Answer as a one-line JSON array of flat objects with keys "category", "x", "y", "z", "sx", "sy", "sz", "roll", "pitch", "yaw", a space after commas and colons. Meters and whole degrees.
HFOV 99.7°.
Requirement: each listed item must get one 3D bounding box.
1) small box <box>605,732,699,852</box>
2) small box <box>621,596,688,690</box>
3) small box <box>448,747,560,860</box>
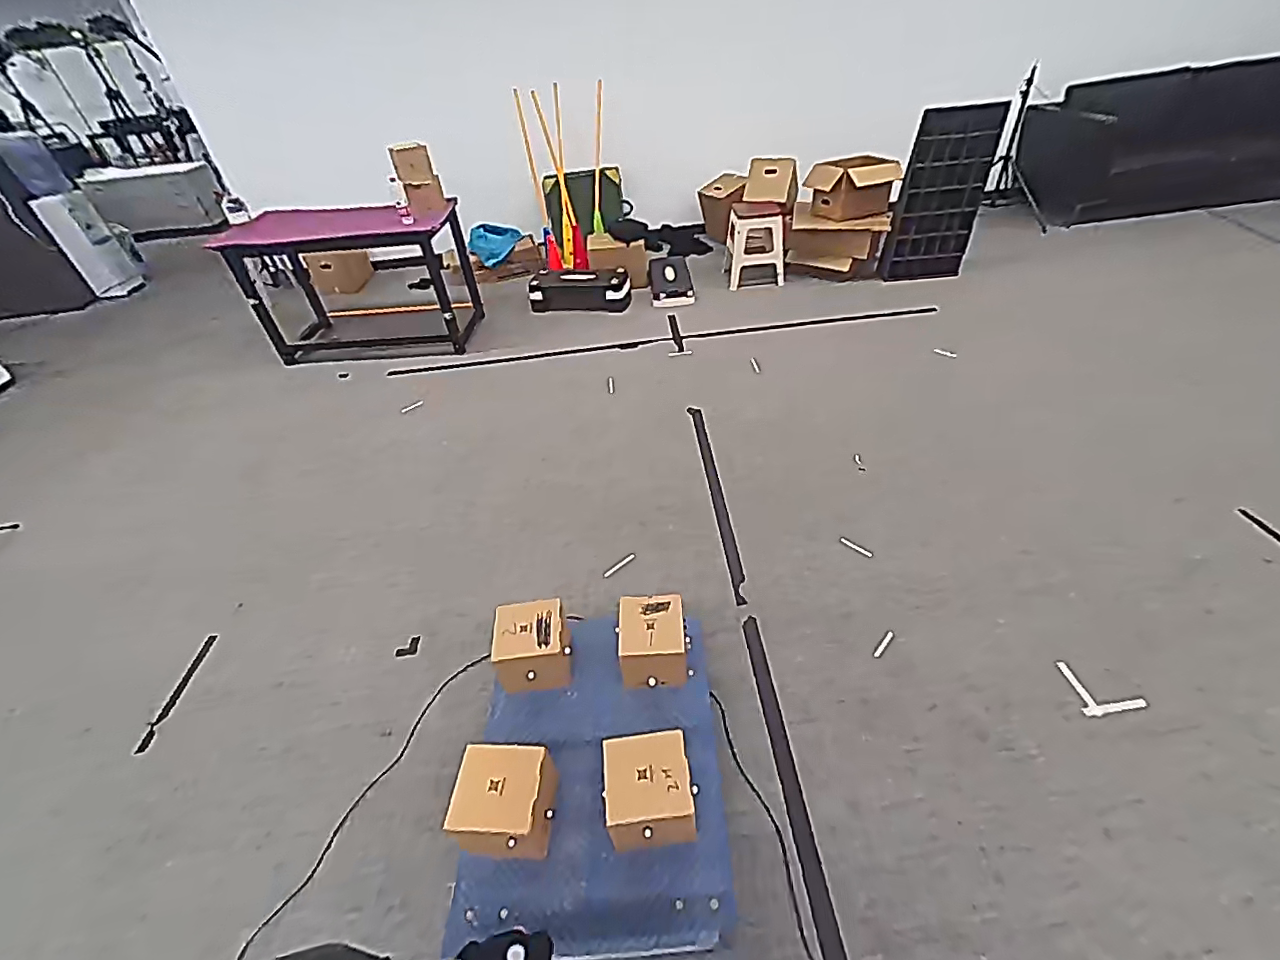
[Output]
[{"category": "small box", "x": 0.027, "y": 0.666, "z": 1.152, "sx": 0.179, "sy": 0.176, "sz": 0.168, "roll": -8, "pitch": 41, "yaw": -1}, {"category": "small box", "x": 0.039, "y": 0.429, "z": 1.425, "sx": 0.168, "sy": 0.176, "sz": 0.179, "roll": -4, "pitch": 42, "yaw": 3}, {"category": "small box", "x": -0.282, "y": 0.695, "z": 1.159, "sx": 0.179, "sy": 0.176, "sz": 0.168, "roll": -1, "pitch": 41, "yaw": 4}]
